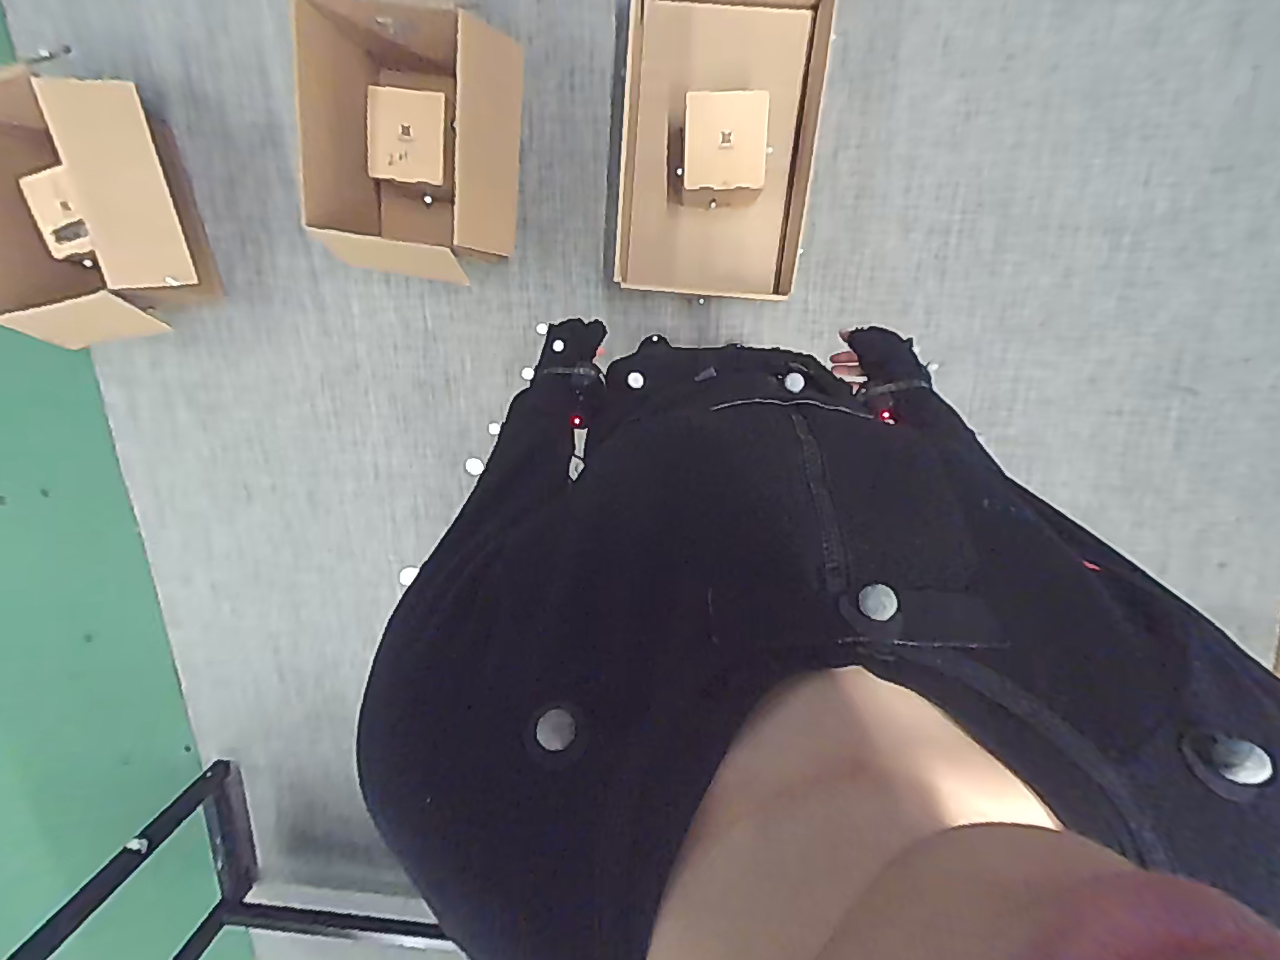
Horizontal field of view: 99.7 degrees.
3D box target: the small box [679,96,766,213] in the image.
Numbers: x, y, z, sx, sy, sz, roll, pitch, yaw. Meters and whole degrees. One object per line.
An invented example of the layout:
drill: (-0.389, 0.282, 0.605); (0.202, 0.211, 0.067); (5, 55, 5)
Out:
small box: (0.171, -0.692, 1.165); (0.168, 0.176, 0.179); (0, 105, 3)
